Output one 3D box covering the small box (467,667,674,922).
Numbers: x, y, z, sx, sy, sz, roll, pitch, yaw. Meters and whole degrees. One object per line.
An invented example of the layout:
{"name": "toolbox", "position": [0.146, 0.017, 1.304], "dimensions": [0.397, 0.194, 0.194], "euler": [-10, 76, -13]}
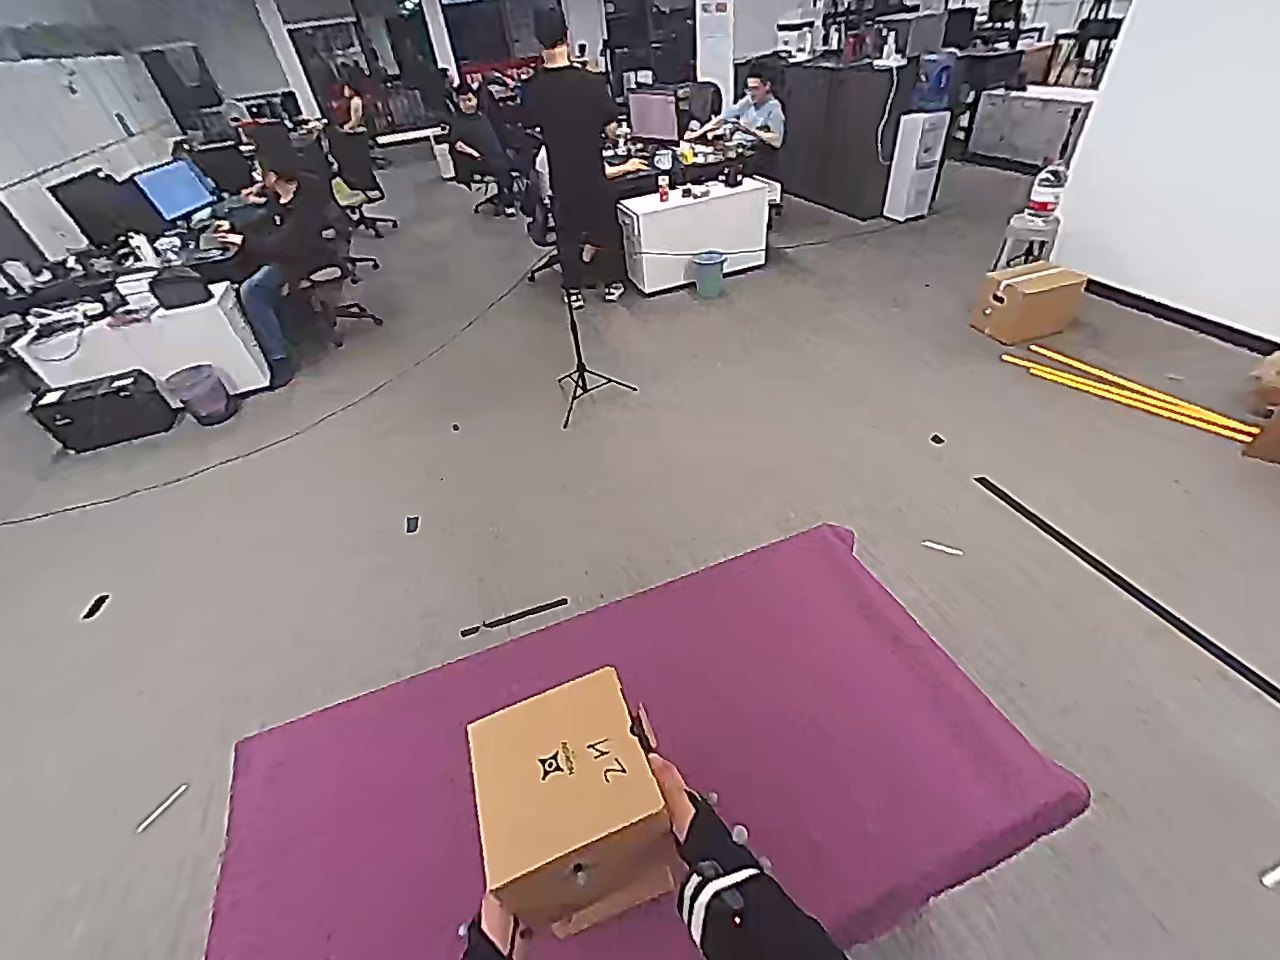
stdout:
{"name": "small box", "position": [-0.075, 0.352, 0.607], "dimensions": [0.179, 0.176, 0.168], "euler": [-19, 41, -11]}
